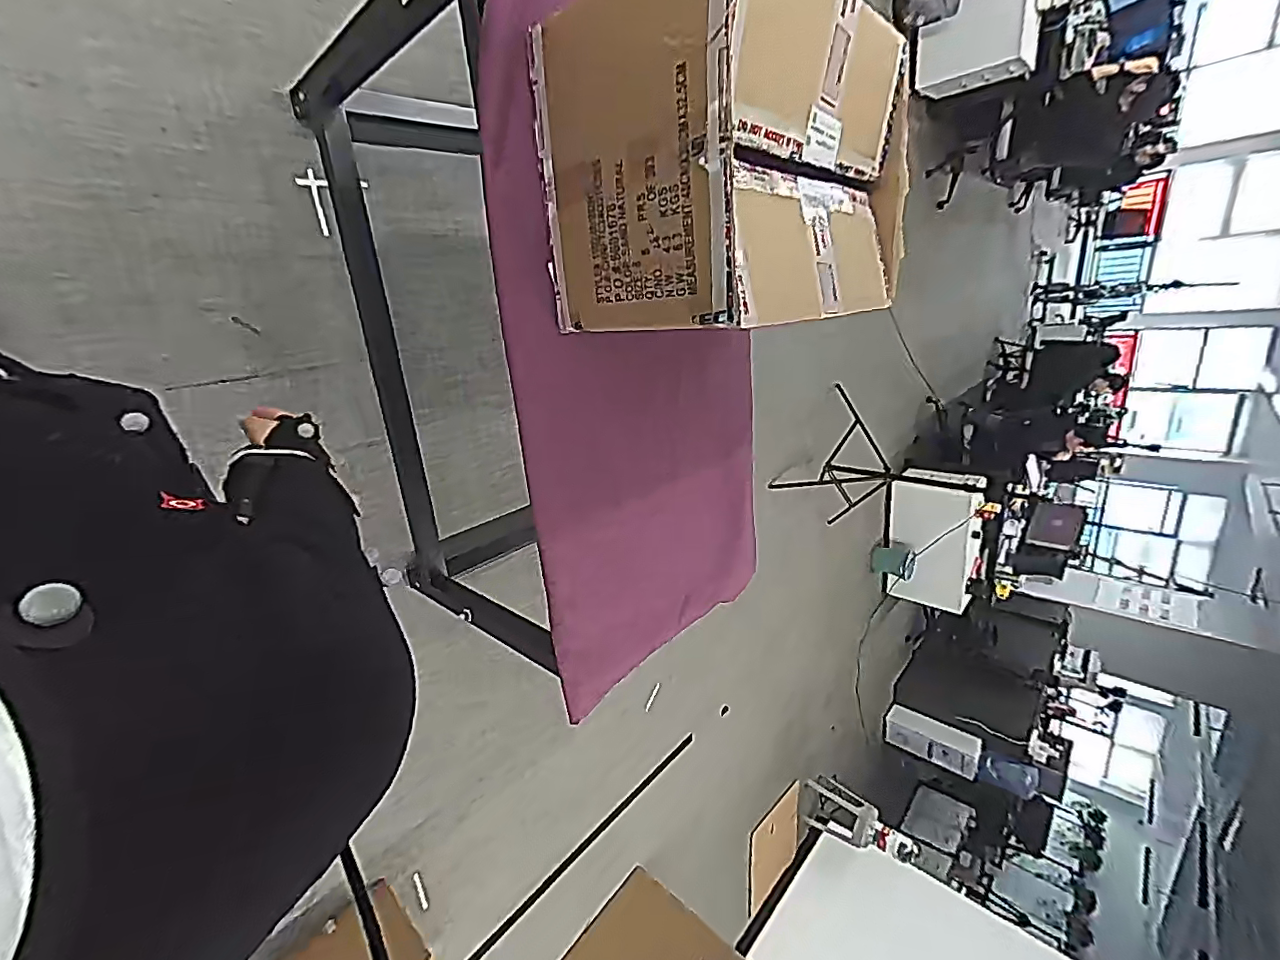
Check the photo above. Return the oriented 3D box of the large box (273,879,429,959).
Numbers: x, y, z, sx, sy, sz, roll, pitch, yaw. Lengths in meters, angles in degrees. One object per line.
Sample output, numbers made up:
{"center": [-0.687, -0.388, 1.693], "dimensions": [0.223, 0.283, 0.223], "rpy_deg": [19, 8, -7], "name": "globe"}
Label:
{"center": [-0.730, 1.397, 1.426], "dimensions": [0.320, 0.320, 0.408], "rpy_deg": [-25, 116, -43], "name": "large box"}
